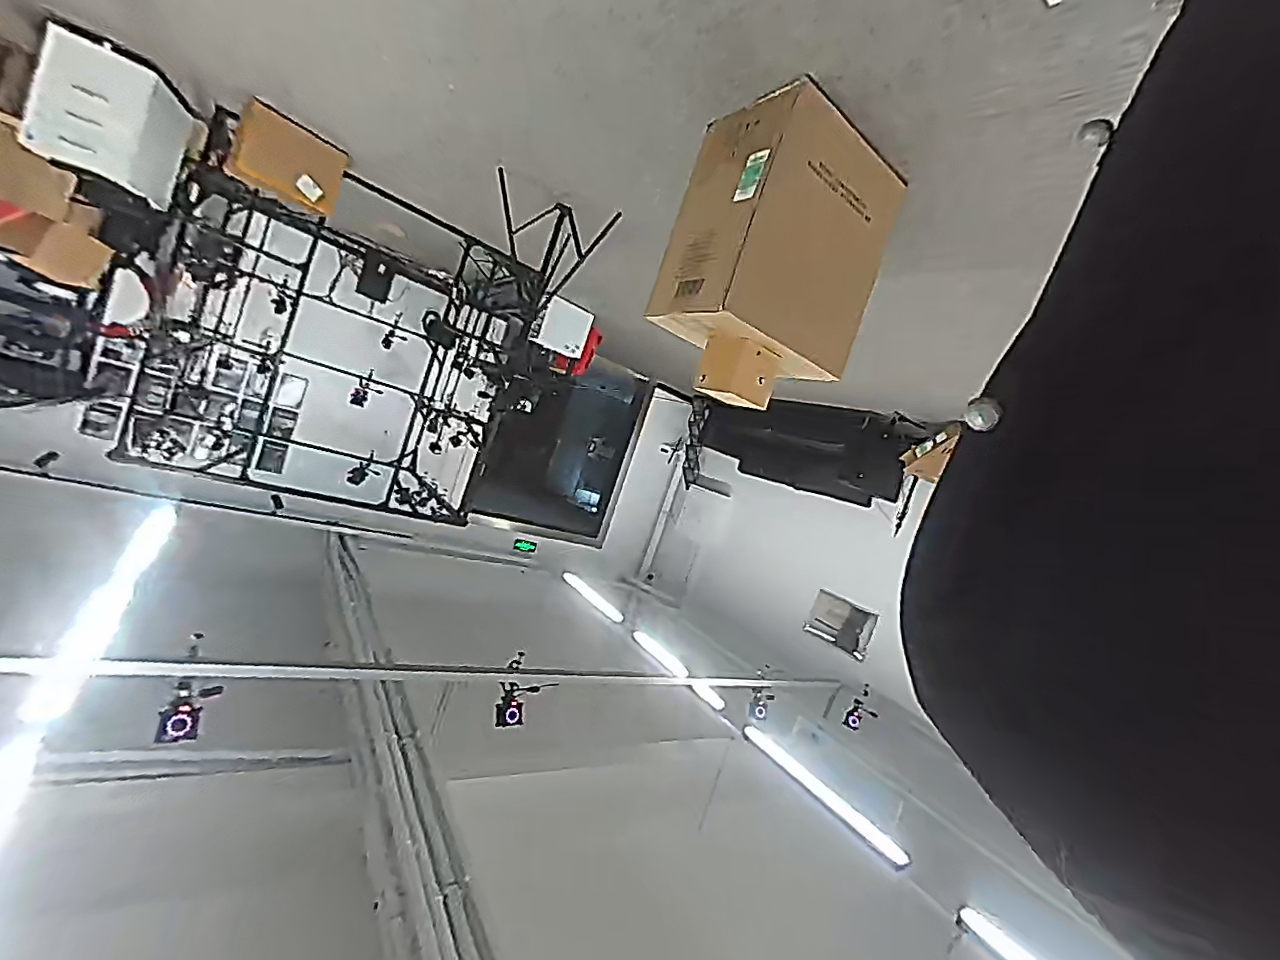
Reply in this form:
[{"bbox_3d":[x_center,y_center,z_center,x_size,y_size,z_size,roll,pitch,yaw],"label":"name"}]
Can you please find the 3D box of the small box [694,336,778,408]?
[{"bbox_3d":[0.296,-0.329,1.634,0.168,0.176,0.179,16,-176,-37],"label":"small box"}]
